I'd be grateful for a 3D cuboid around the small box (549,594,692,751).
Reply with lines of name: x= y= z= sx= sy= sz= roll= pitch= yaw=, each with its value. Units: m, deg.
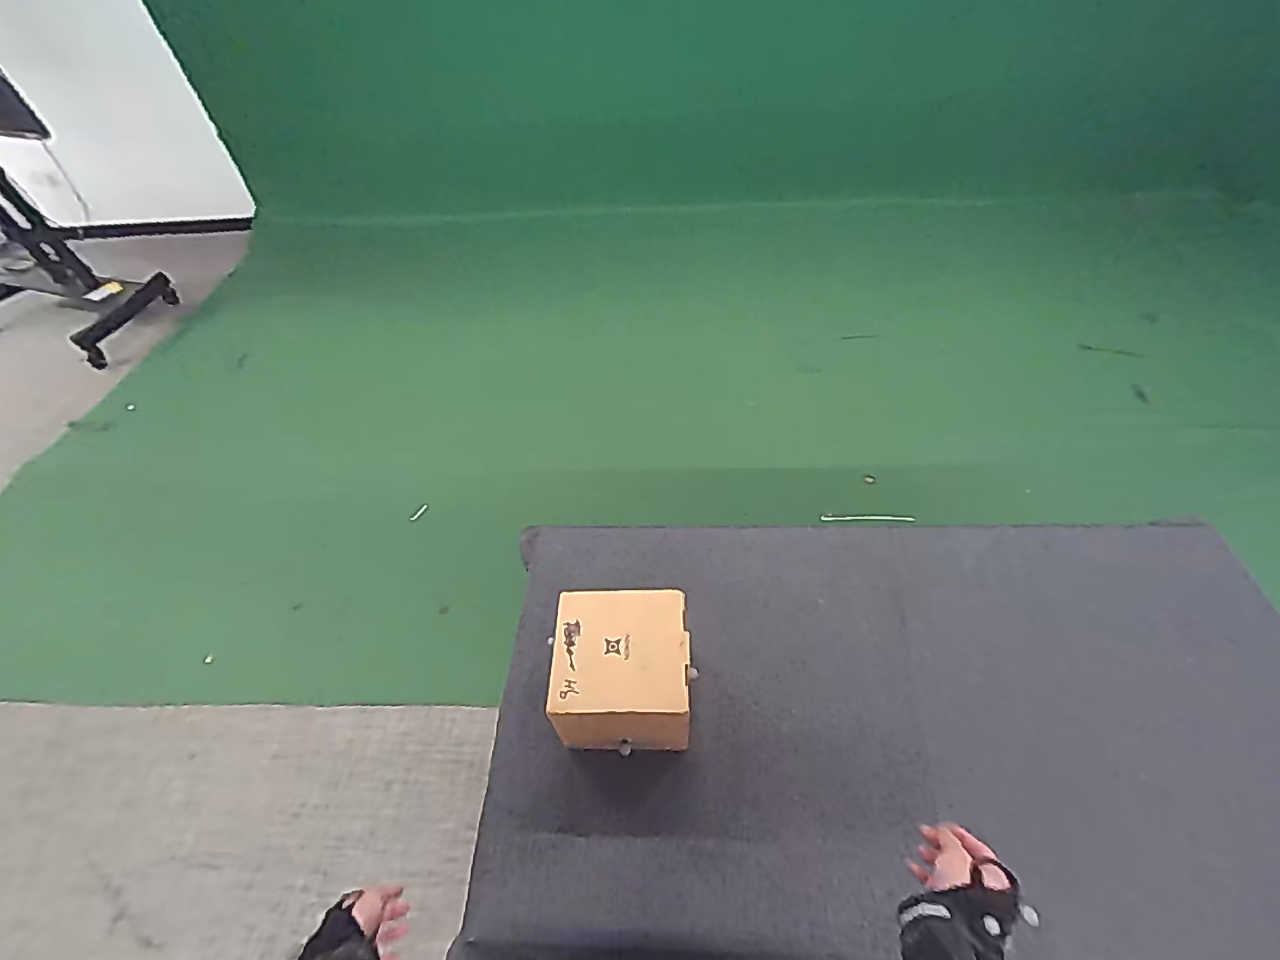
small box: x=-0.021 y=0.275 z=0.767 sx=0.179 sy=0.176 sz=0.168 roll=-1 pitch=50 yaw=2
